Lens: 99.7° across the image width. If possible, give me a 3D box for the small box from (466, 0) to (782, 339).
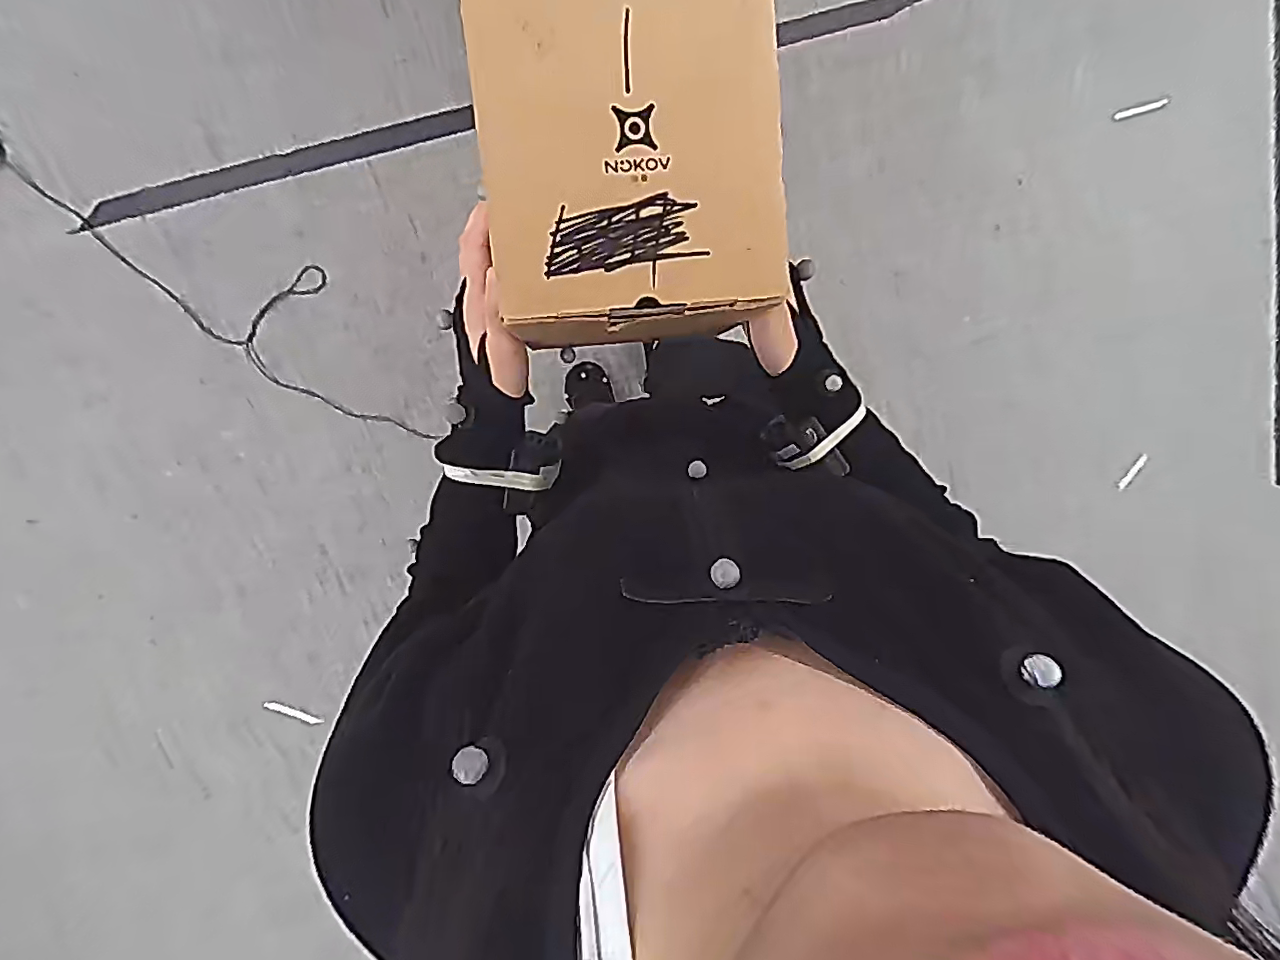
[{"bbox_3d":[-0.011,-0.196,0.374,0.168,0.176,0.179,-6,98,-5],"label":"small box"}]
